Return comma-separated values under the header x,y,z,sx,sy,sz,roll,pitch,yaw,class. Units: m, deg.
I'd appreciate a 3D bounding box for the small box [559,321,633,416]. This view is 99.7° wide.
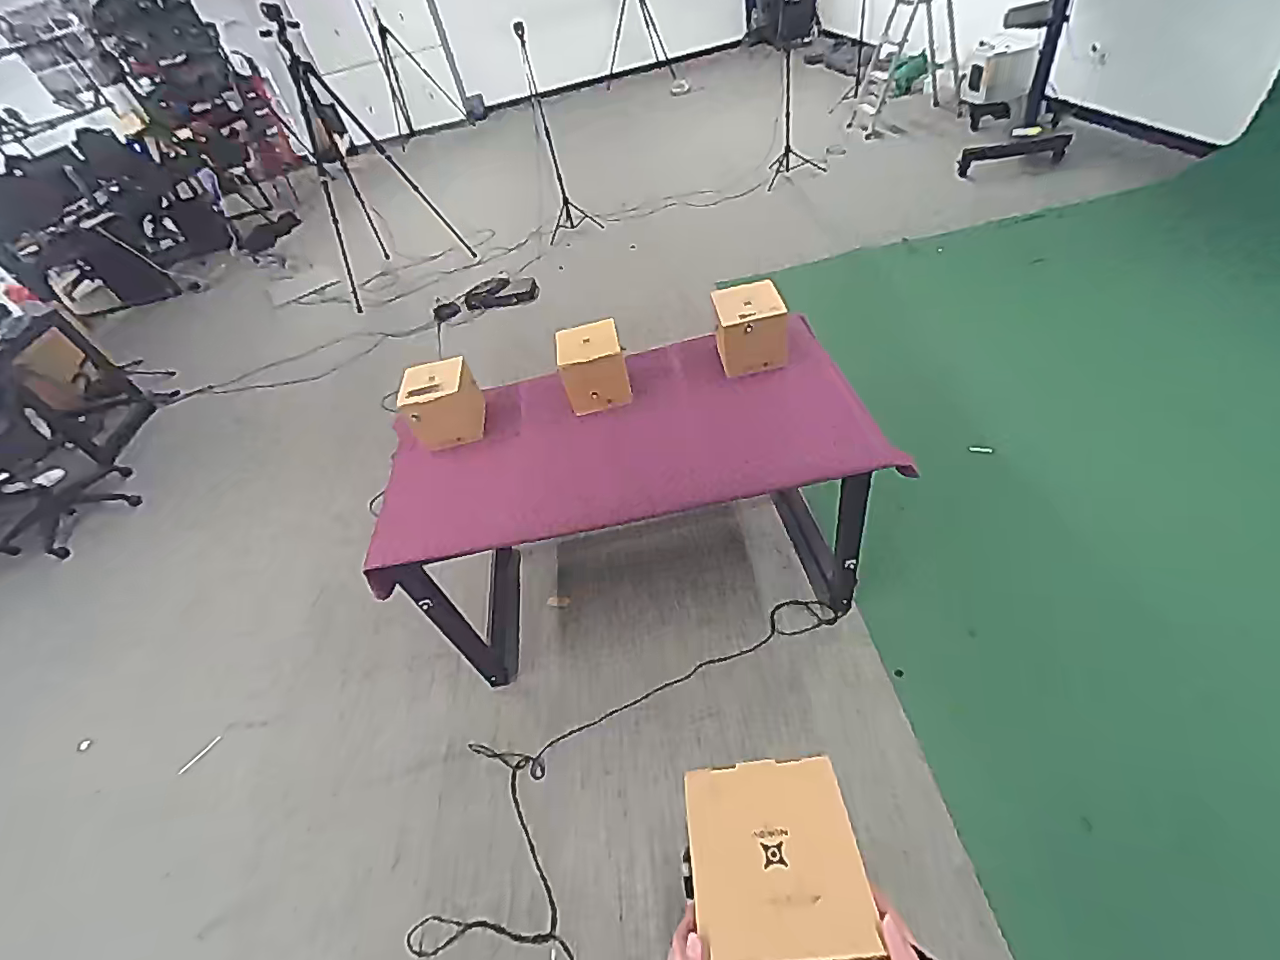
x,y,z,sx,sy,sz,roll,pitch,yaw,class
-0.119,-0.302,1.472,0.168,0.176,0.179,-13,46,1,small box

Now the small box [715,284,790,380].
x,y,z,sx,sy,sz,roll,pitch,yaw,class
0.300,-0.396,1.452,0.168,0.176,0.179,-11,46,5,small box

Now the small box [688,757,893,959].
x,y,z,sx,sy,sz,roll,pitch,yaw,class
0.144,0.427,0.572,0.168,0.176,0.179,-8,35,5,small box
